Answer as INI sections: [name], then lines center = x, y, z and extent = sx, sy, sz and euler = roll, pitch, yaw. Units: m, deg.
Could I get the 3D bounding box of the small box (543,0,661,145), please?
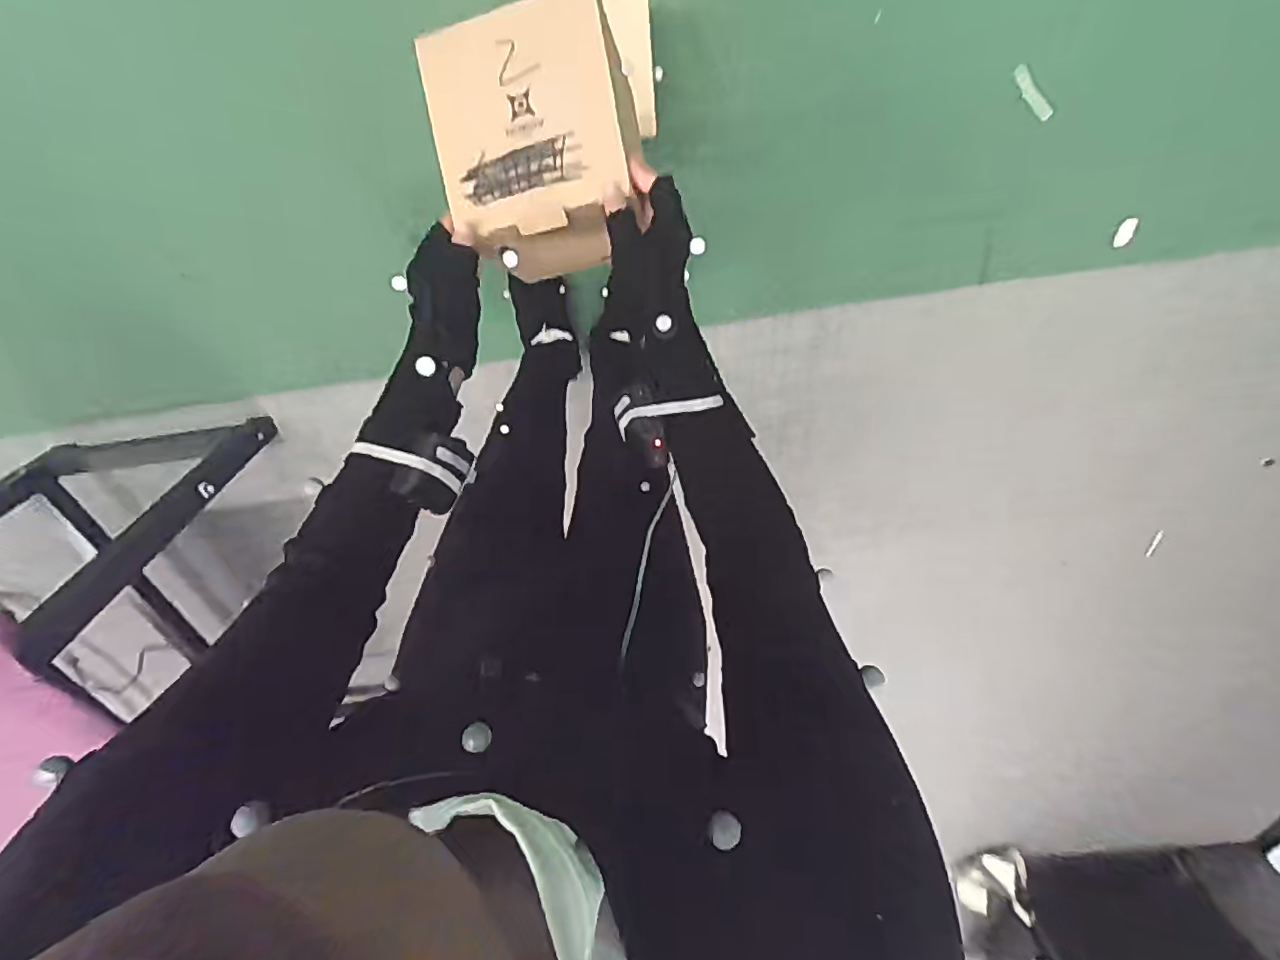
[small box]
center = -0.057, -0.662, 0.886
extent = 0.168, 0.176, 0.179
euler = -5, 126, 2
